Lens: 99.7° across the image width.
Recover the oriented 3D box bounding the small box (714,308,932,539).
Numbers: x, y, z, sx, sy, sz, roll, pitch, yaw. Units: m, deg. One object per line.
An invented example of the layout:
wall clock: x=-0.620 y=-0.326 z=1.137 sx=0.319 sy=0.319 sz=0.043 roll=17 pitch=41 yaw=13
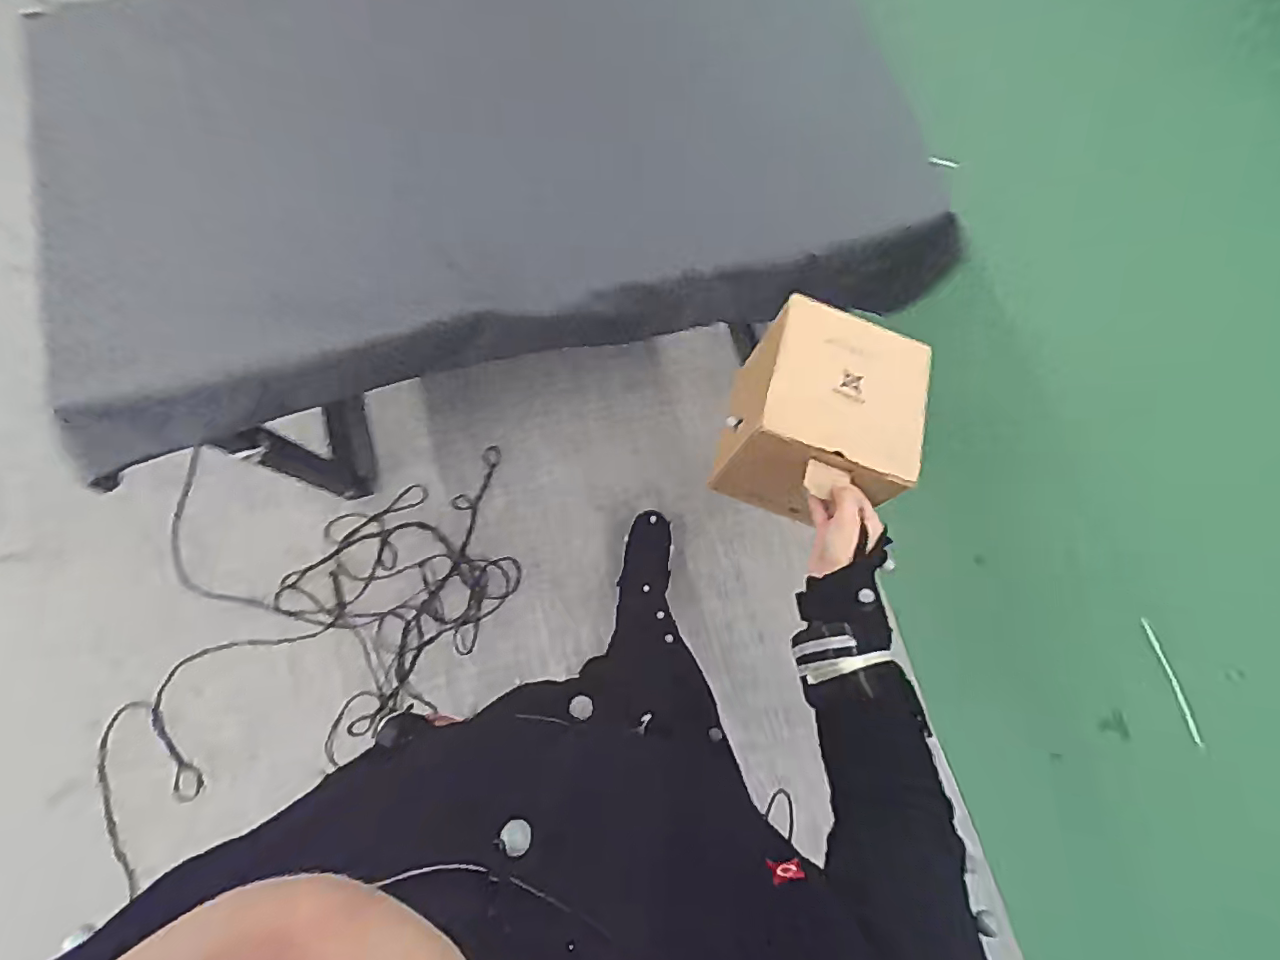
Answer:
small box: x=0.197 y=-0.052 z=0.616 sx=0.168 sy=0.176 sz=0.179 roll=21 pitch=65 yaw=-5
